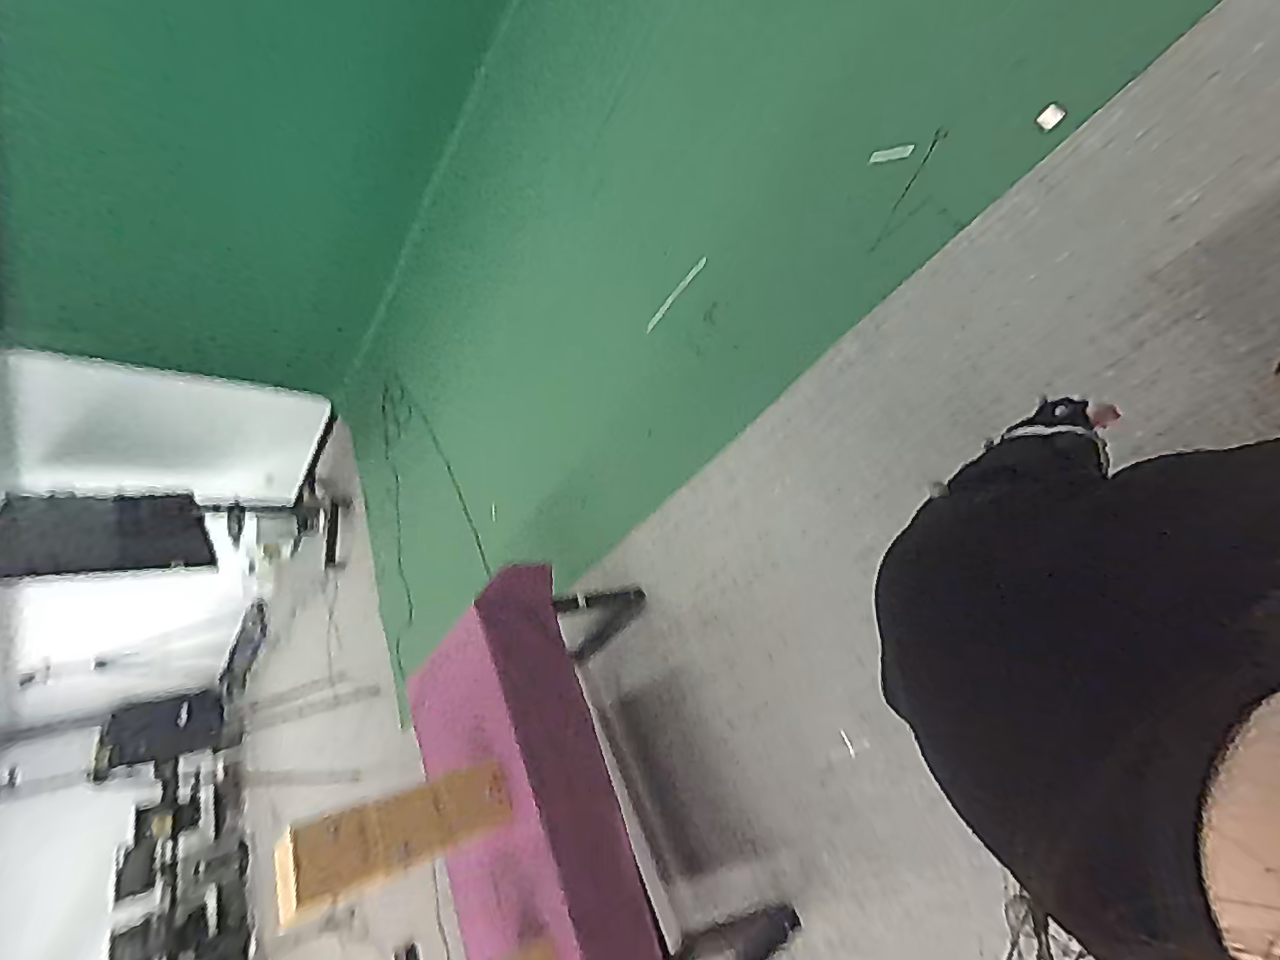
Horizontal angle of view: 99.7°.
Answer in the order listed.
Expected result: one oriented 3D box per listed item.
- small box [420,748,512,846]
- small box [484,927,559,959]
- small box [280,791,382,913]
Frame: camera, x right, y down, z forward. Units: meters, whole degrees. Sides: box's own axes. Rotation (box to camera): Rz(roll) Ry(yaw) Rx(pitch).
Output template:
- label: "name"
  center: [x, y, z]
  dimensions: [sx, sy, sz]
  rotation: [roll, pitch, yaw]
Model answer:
- label: "small box"
  center: [-0.476, 0.864, 1.480]
  dimensions: [0.179, 0.176, 0.168]
  rotation: [-45, 58, 33]
- label: "small box"
  center: [-0.289, 1.193, 1.267]
  dimensions: [0.179, 0.176, 0.168]
  rotation: [-49, 55, 33]
- label: "small box"
  center: [-0.714, 0.855, 1.254]
  dimensions: [0.179, 0.176, 0.168]
  rotation: [-49, 55, 33]
